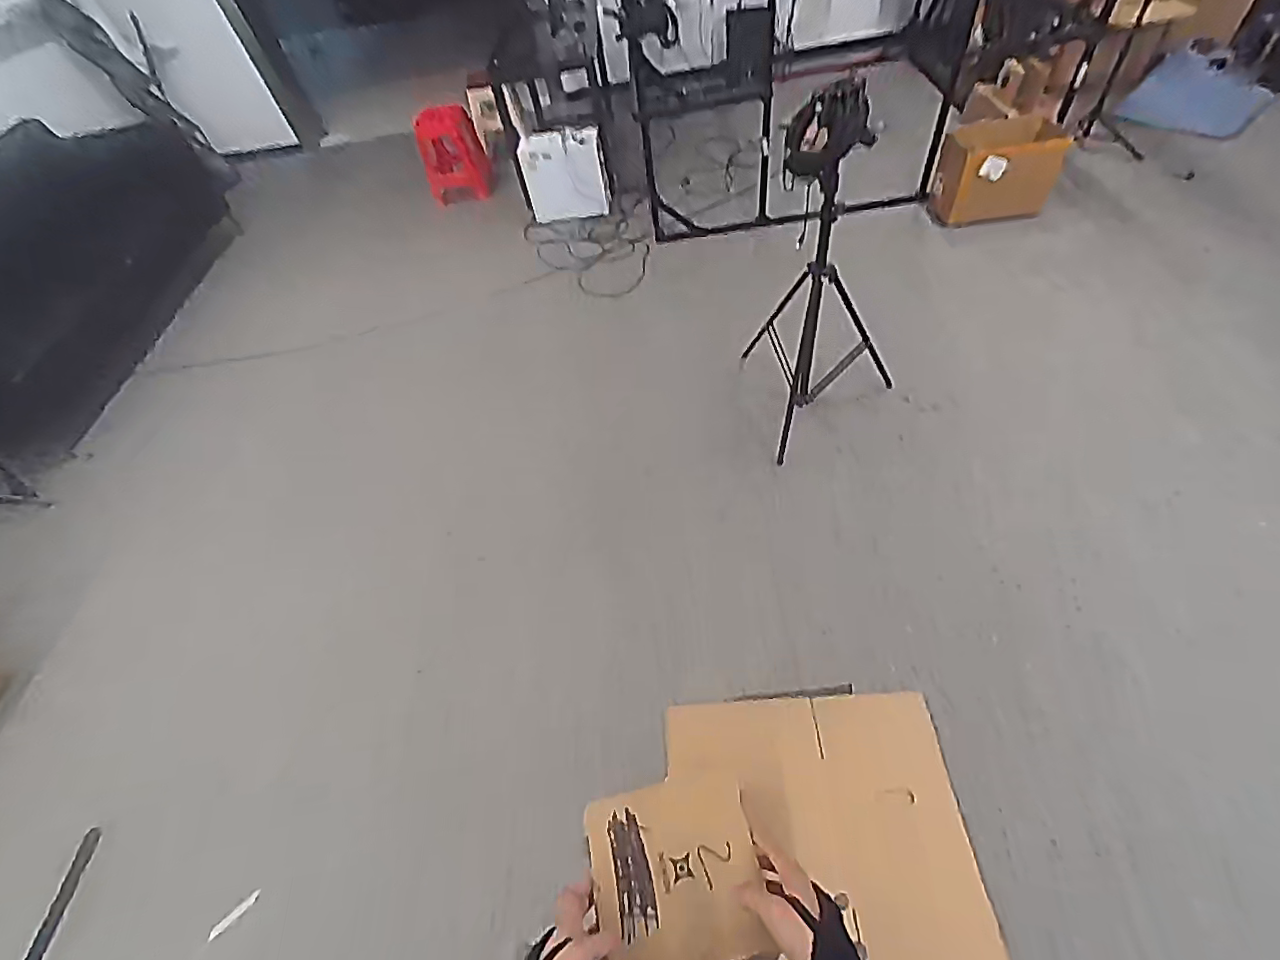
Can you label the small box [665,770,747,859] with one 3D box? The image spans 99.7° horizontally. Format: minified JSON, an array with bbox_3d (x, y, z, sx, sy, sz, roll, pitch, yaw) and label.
[{"bbox_3d":[0.156,0.793,1.281,0.179,0.176,0.168,-6,53,7],"label":"small box"}]
